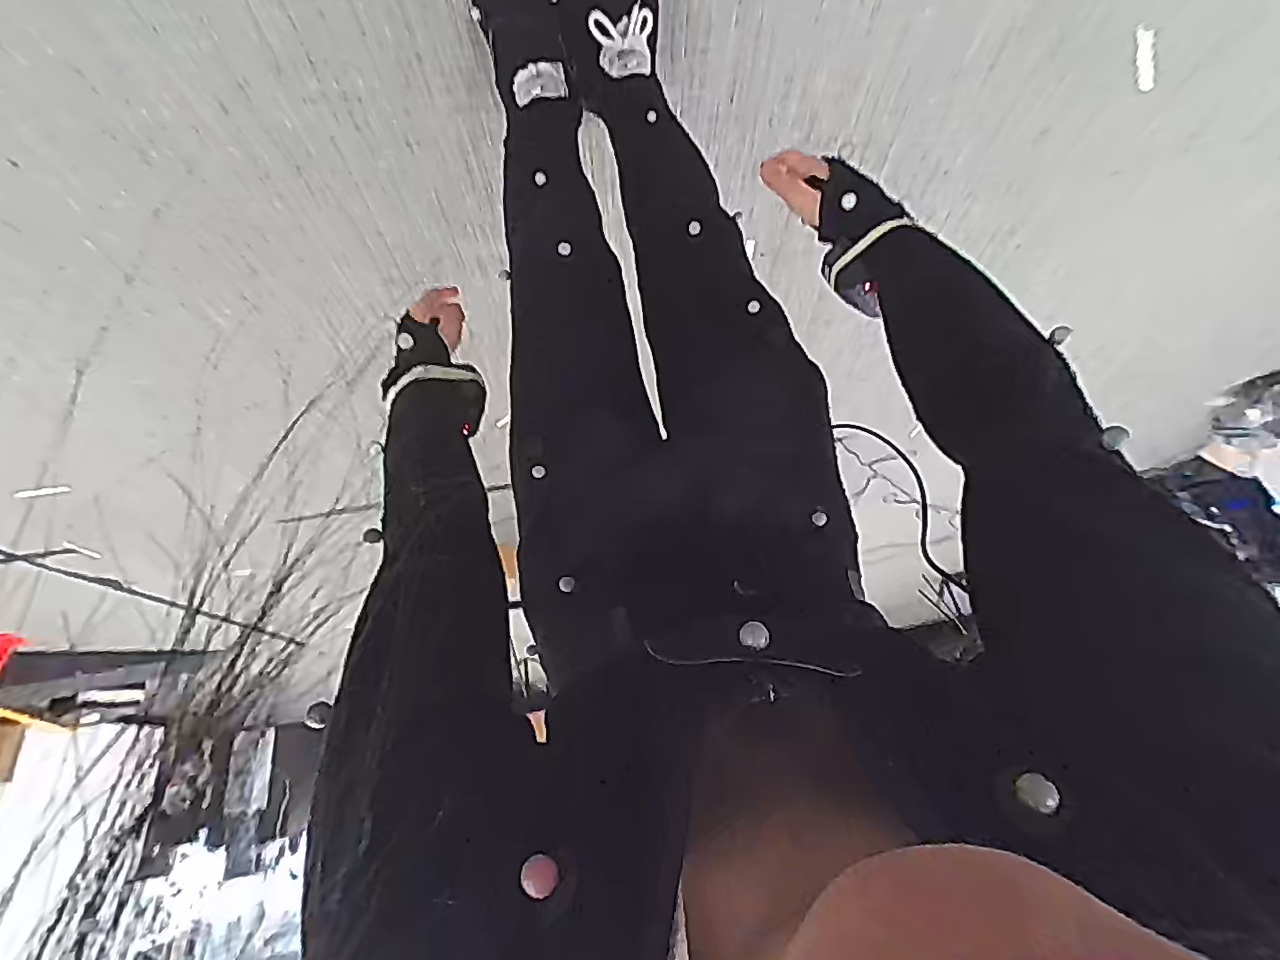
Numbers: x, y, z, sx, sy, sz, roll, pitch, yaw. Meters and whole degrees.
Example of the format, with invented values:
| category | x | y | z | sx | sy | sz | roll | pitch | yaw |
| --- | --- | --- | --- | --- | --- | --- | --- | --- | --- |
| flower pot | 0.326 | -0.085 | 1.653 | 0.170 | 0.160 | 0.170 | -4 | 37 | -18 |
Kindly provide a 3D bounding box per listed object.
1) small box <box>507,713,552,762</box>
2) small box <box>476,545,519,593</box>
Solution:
| category | x | y | z | sx | sy | sz | roll | pitch | yaw |
| --- | --- | --- | --- | --- | --- | --- | --- | --- | --- |
| small box | -0.499 | 1.163 | 2.439 | 0.179 | 0.176 | 0.168 | -9 | 154 | -7 |
| small box | -0.672 | 0.414 | 2.535 | 0.179 | 0.176 | 0.168 | -2 | 152 | -20 |
